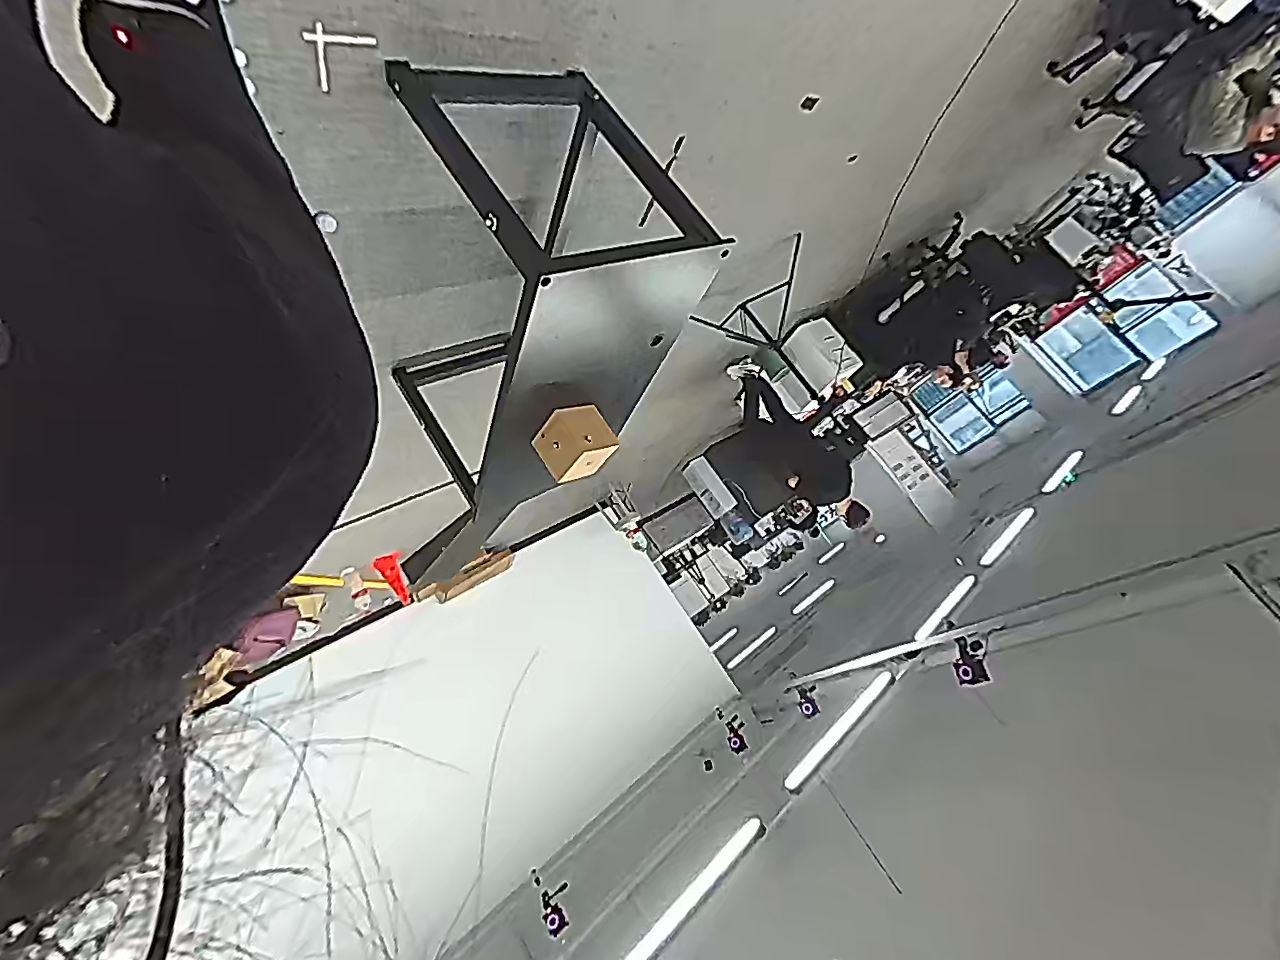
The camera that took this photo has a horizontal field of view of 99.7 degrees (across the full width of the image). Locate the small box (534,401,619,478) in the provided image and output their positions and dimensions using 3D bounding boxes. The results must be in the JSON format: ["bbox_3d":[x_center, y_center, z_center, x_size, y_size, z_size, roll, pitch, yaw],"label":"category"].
[{"bbox_3d":[-0.208,-0.135,1.733,0.179,0.176,0.168,-19,160,-51],"label":"small box"}]
